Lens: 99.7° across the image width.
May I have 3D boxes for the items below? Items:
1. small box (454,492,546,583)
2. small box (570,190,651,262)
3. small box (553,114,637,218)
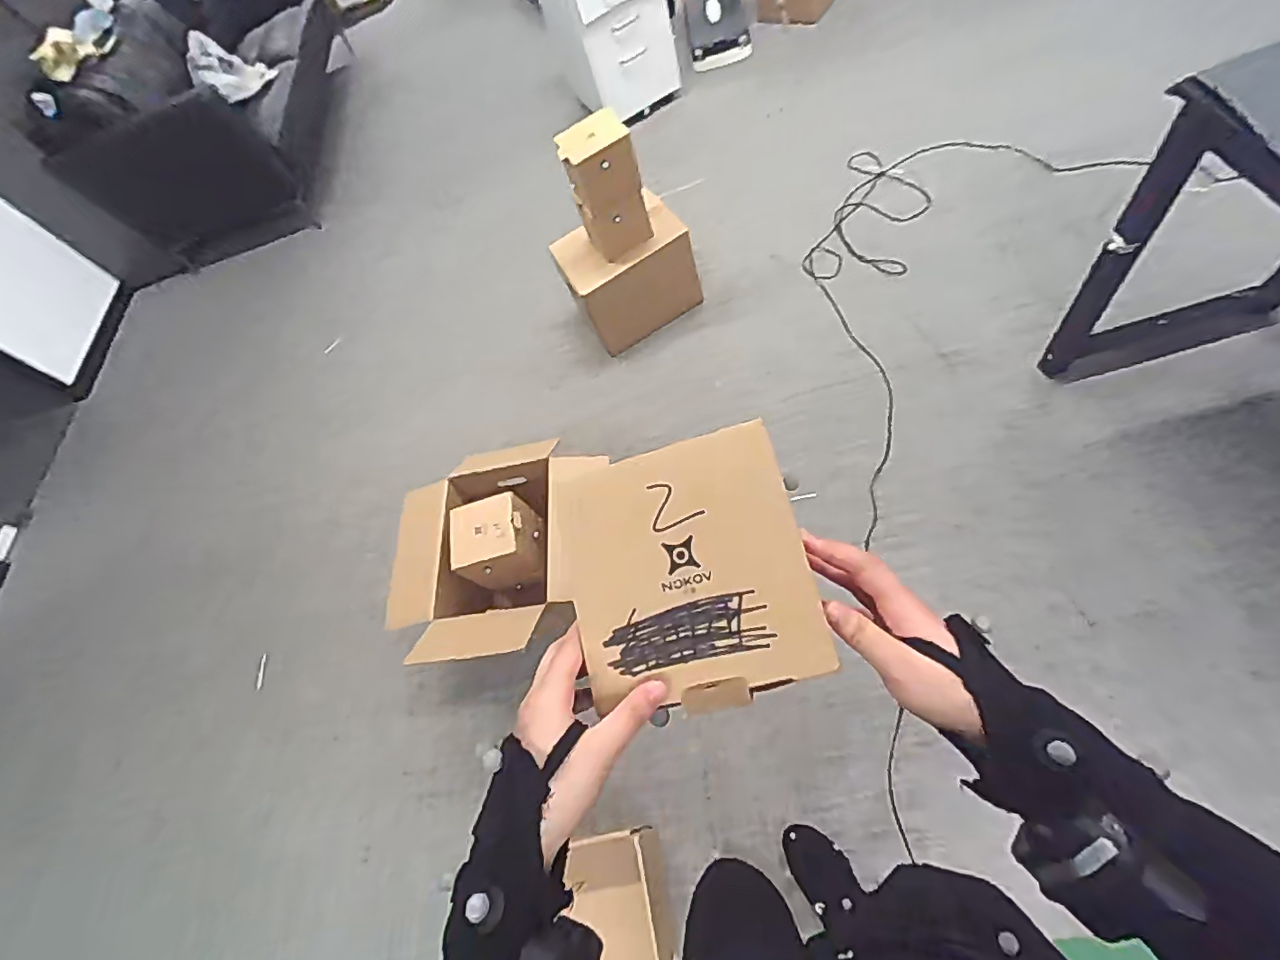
[{"bbox_3d":[-0.365,0.157,1.416,0.179,0.176,0.168,-17,62,9],"label":"small box"},{"bbox_3d":[-0.089,-0.832,1.715,0.179,0.176,0.168,-31,59,0],"label":"small box"},{"bbox_3d":[-0.122,-0.910,1.575,0.179,0.176,0.168,-31,60,1],"label":"small box"}]
